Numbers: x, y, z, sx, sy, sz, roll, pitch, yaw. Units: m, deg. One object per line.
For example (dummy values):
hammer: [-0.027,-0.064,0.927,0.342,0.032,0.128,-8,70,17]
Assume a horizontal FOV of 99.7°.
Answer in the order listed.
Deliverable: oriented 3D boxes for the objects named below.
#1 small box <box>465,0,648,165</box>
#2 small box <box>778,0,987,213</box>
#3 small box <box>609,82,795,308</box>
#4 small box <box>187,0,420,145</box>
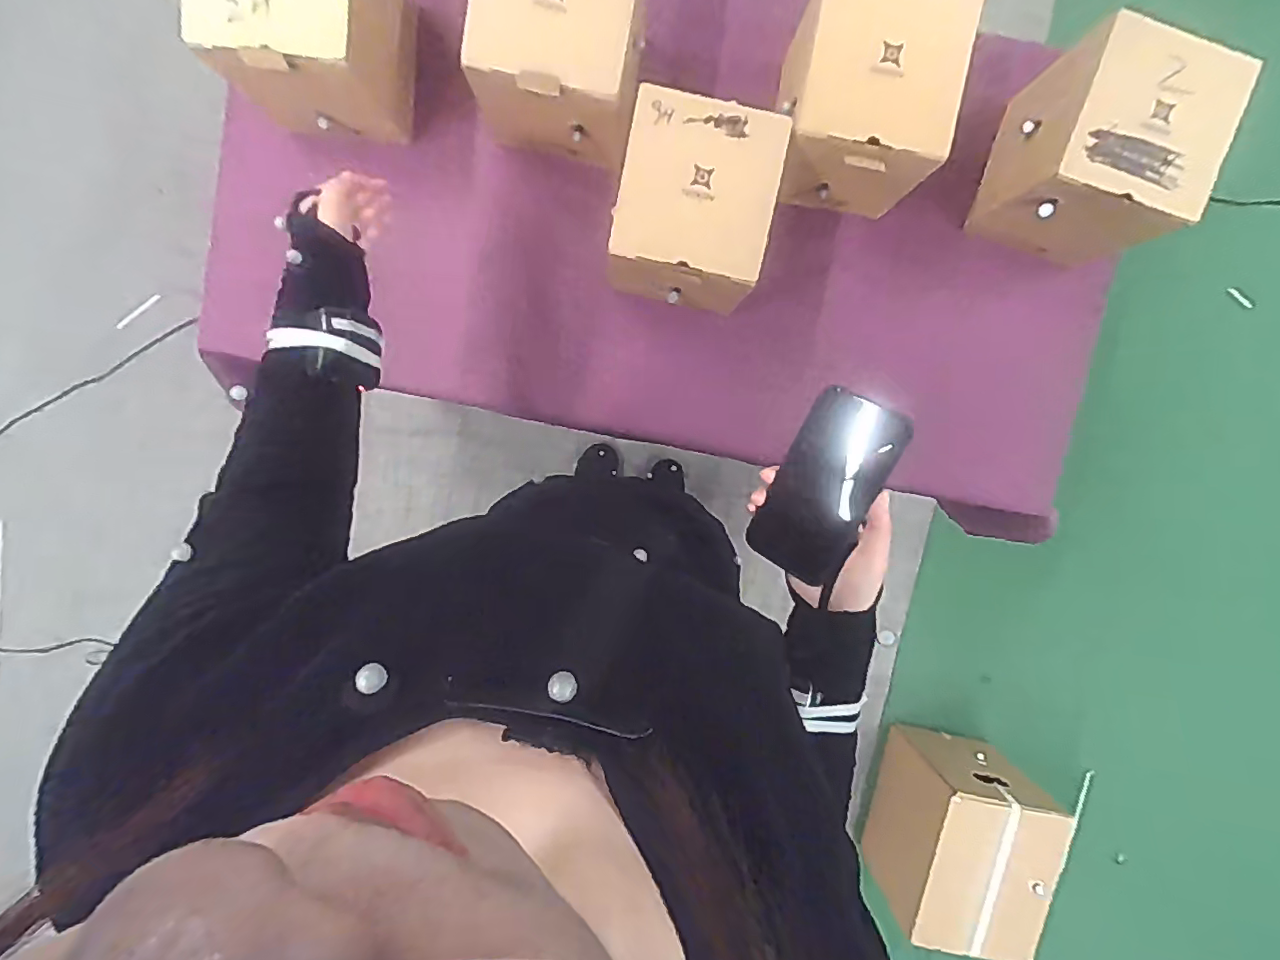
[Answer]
small box: [-0.085,-0.500,0.625,0.168,0.176,0.179,11,96,-3]
small box: [0.260,-0.445,0.635,0.168,0.176,0.179,9,97,-2]
small box: [0.064,-0.318,0.645,0.168,0.176,0.179,12,97,-2]
small box: [-0.365,-0.524,0.617,0.168,0.176,0.179,6,96,-1]
